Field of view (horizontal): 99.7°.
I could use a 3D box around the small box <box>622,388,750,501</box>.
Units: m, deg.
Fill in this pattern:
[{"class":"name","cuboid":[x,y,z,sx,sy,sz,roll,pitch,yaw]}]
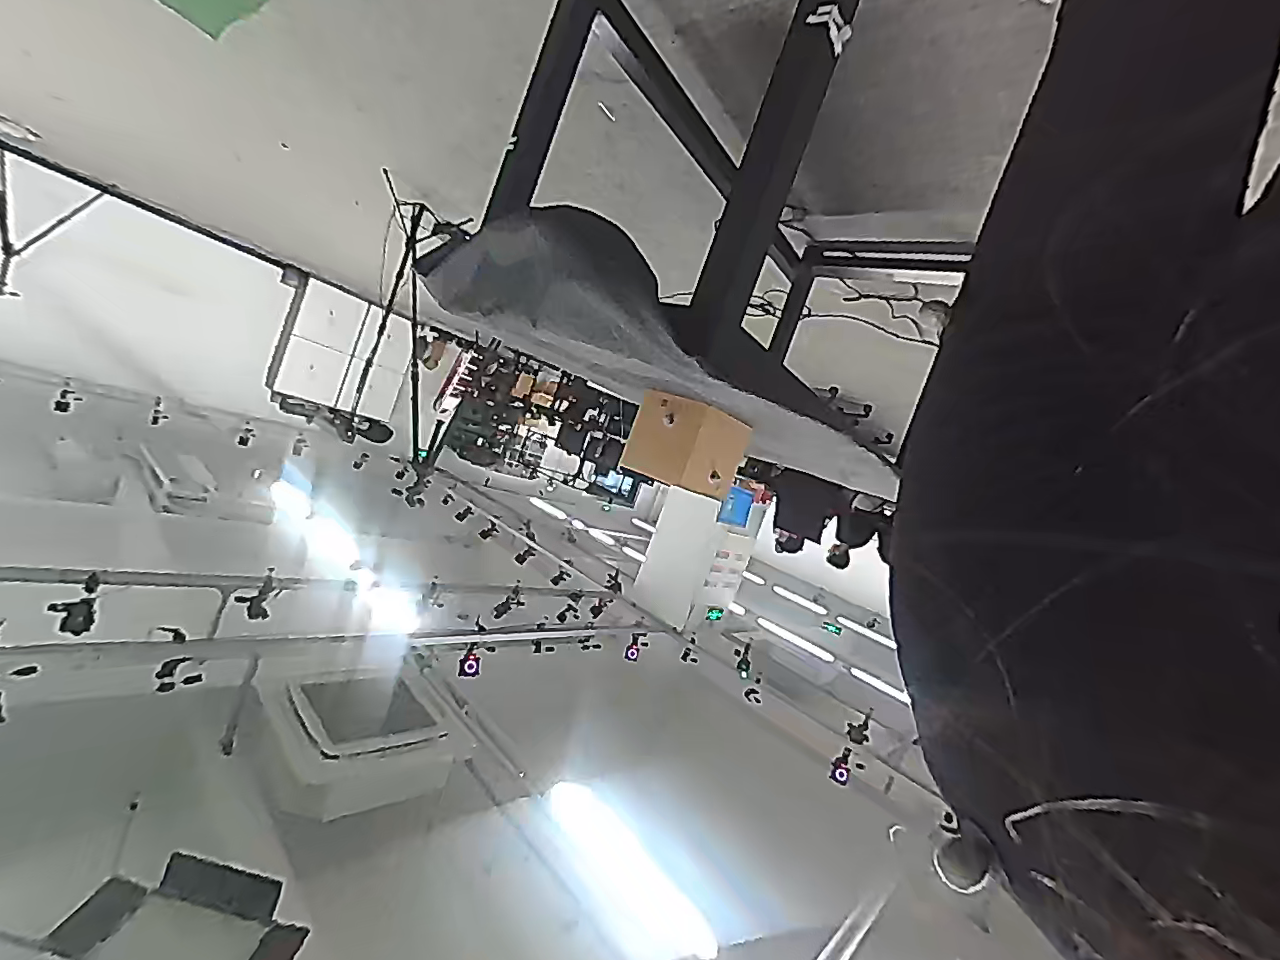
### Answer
[{"class":"small box","cuboid":[0.099,-0.073,1.111,0.168,0.176,0.179,22,-177,40]}]
